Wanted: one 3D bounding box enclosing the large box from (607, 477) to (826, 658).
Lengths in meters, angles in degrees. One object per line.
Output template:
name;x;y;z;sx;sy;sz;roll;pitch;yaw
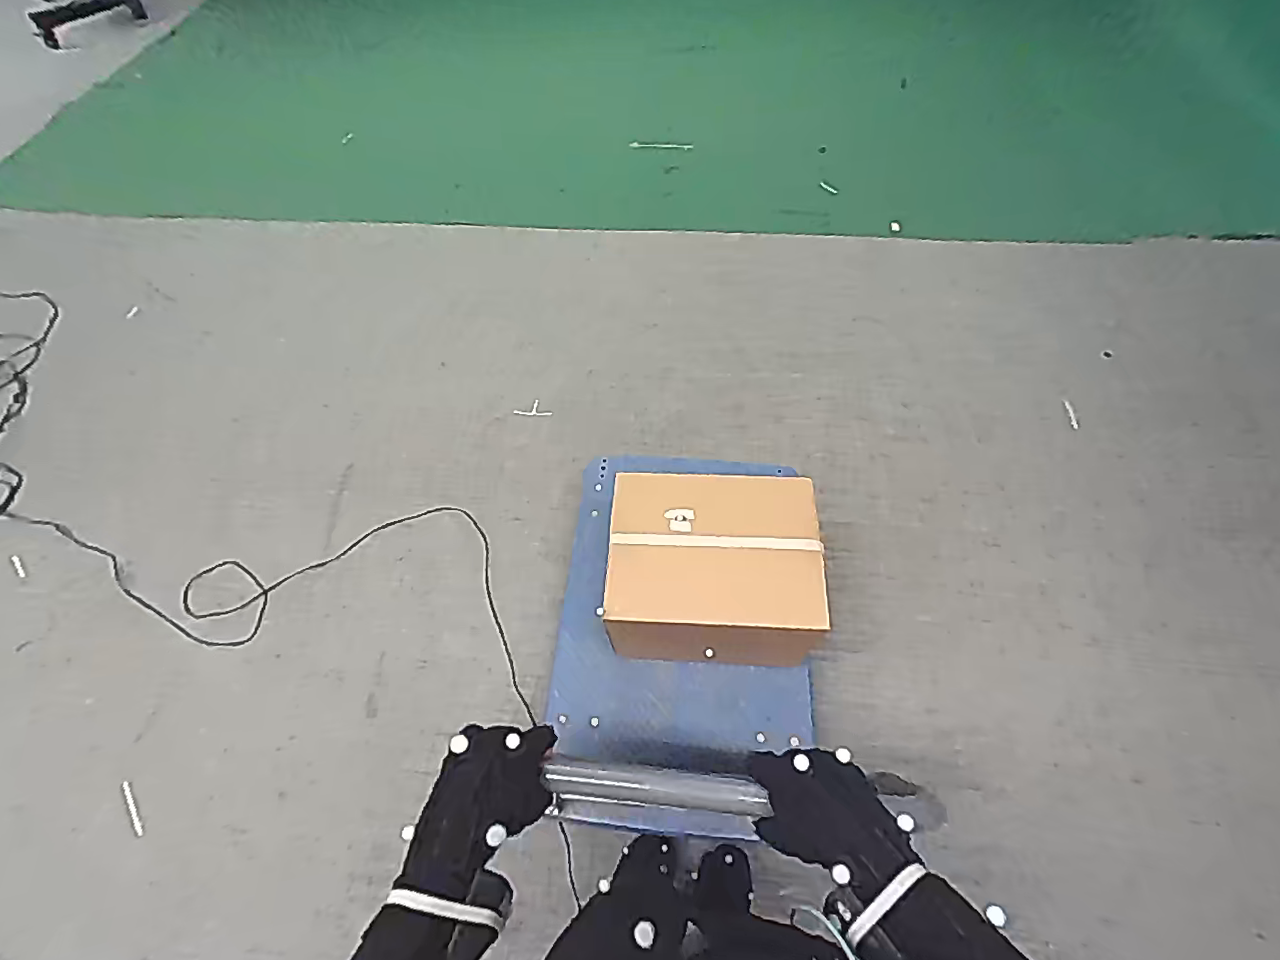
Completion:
large box;0.153;0.203;1.183;0.408;0.320;0.320;0;59;4
